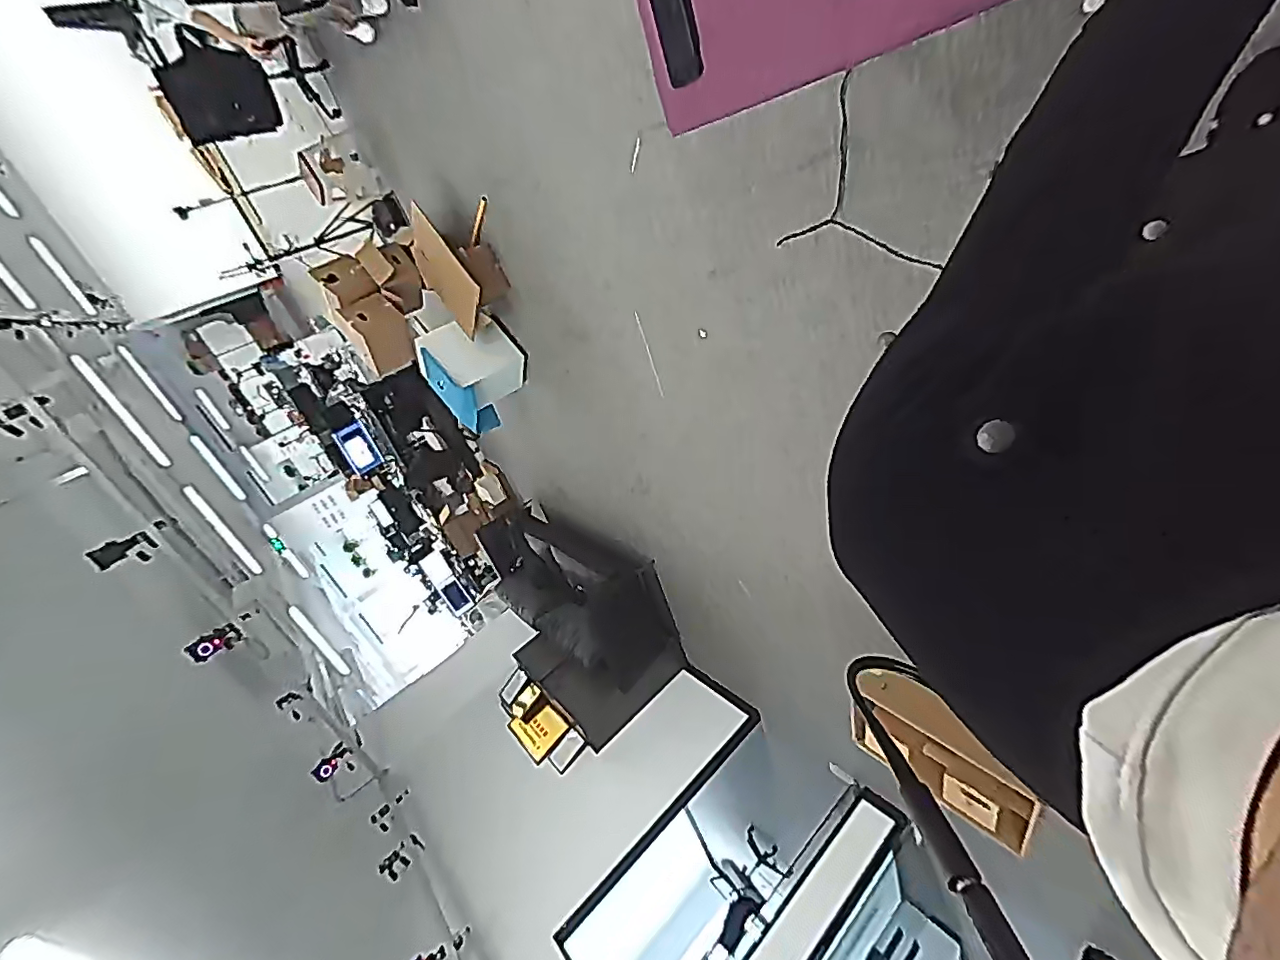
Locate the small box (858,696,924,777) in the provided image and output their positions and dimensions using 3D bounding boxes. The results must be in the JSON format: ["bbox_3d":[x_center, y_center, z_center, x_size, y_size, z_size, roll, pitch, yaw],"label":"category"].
[{"bbox_3d":[0.941,0.956,2.026,0.168,0.176,0.179,26,140,44],"label":"small box"}]
